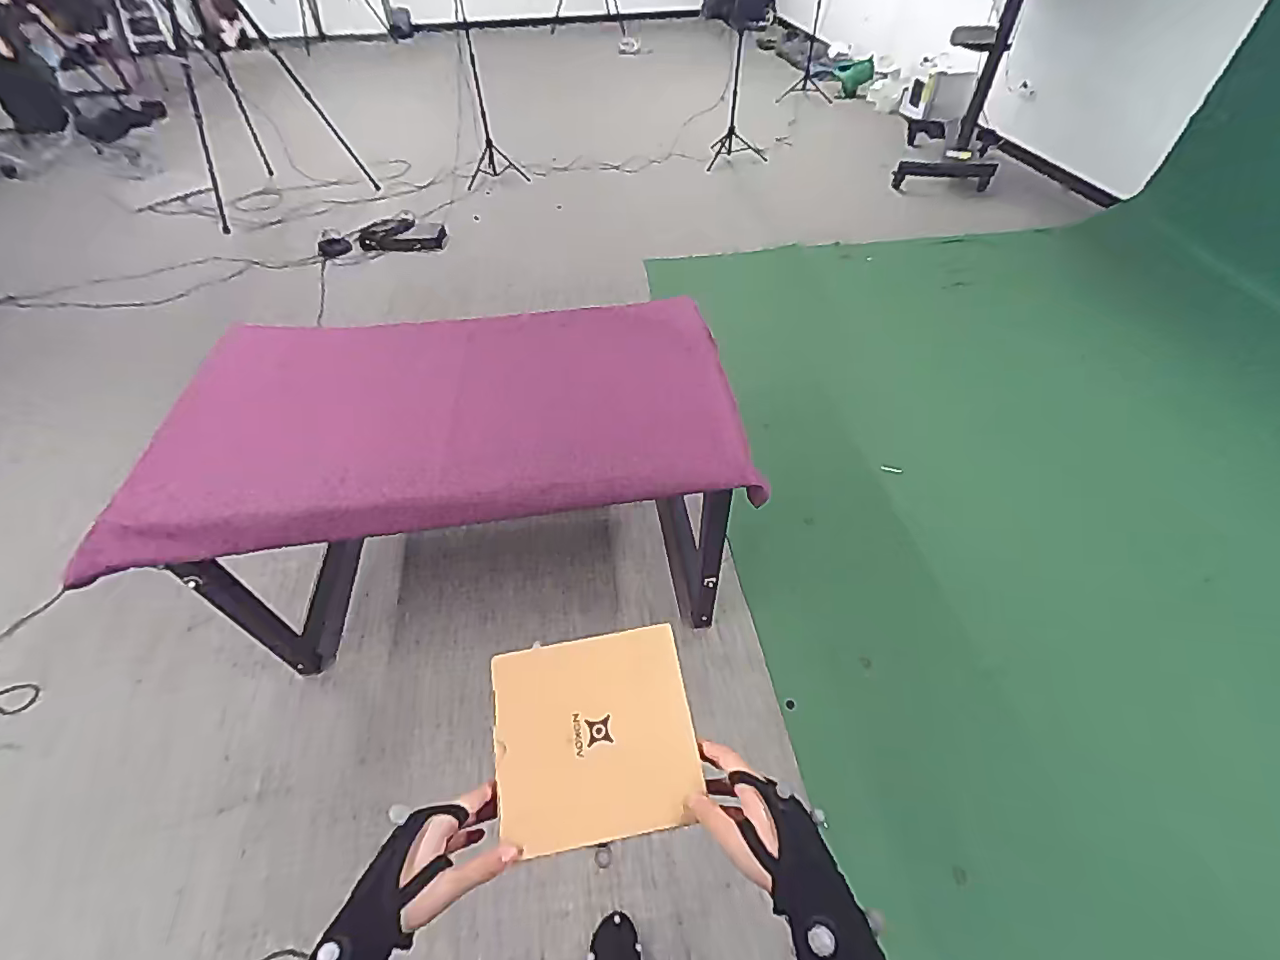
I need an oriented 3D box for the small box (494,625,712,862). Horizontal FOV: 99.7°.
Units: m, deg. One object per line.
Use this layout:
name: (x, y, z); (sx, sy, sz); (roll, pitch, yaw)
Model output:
small box: (-0.036, 0.263, 0.546); (0.179, 0.176, 0.168); (-11, 59, -3)
